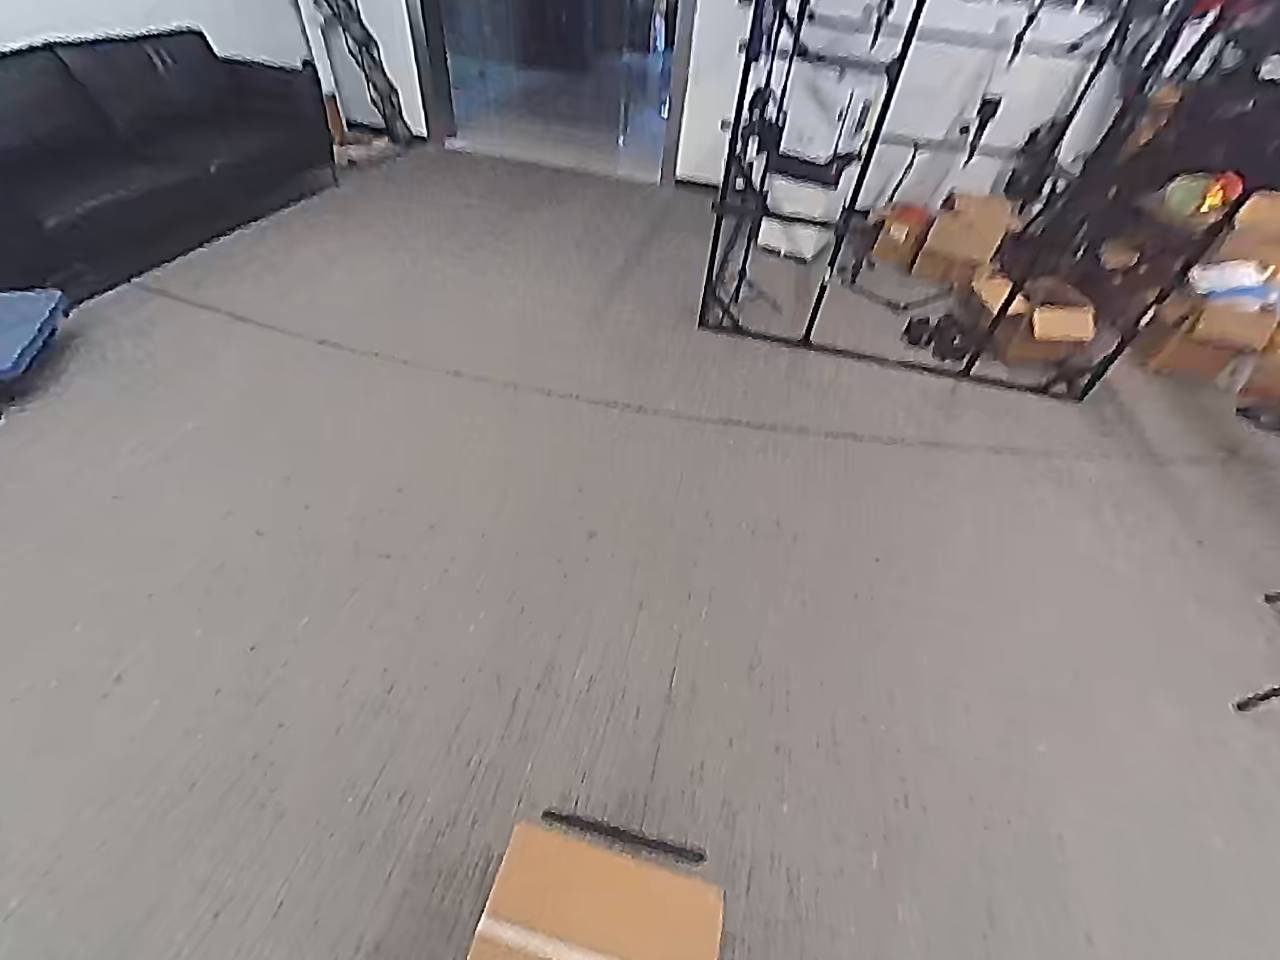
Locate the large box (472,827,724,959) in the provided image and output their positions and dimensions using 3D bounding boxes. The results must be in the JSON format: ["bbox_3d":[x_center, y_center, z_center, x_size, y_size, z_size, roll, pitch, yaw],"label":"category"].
[{"bbox_3d":[-0.089,0.907,0.998,0.408,0.320,0.320,14,45,7],"label":"large box"}]
